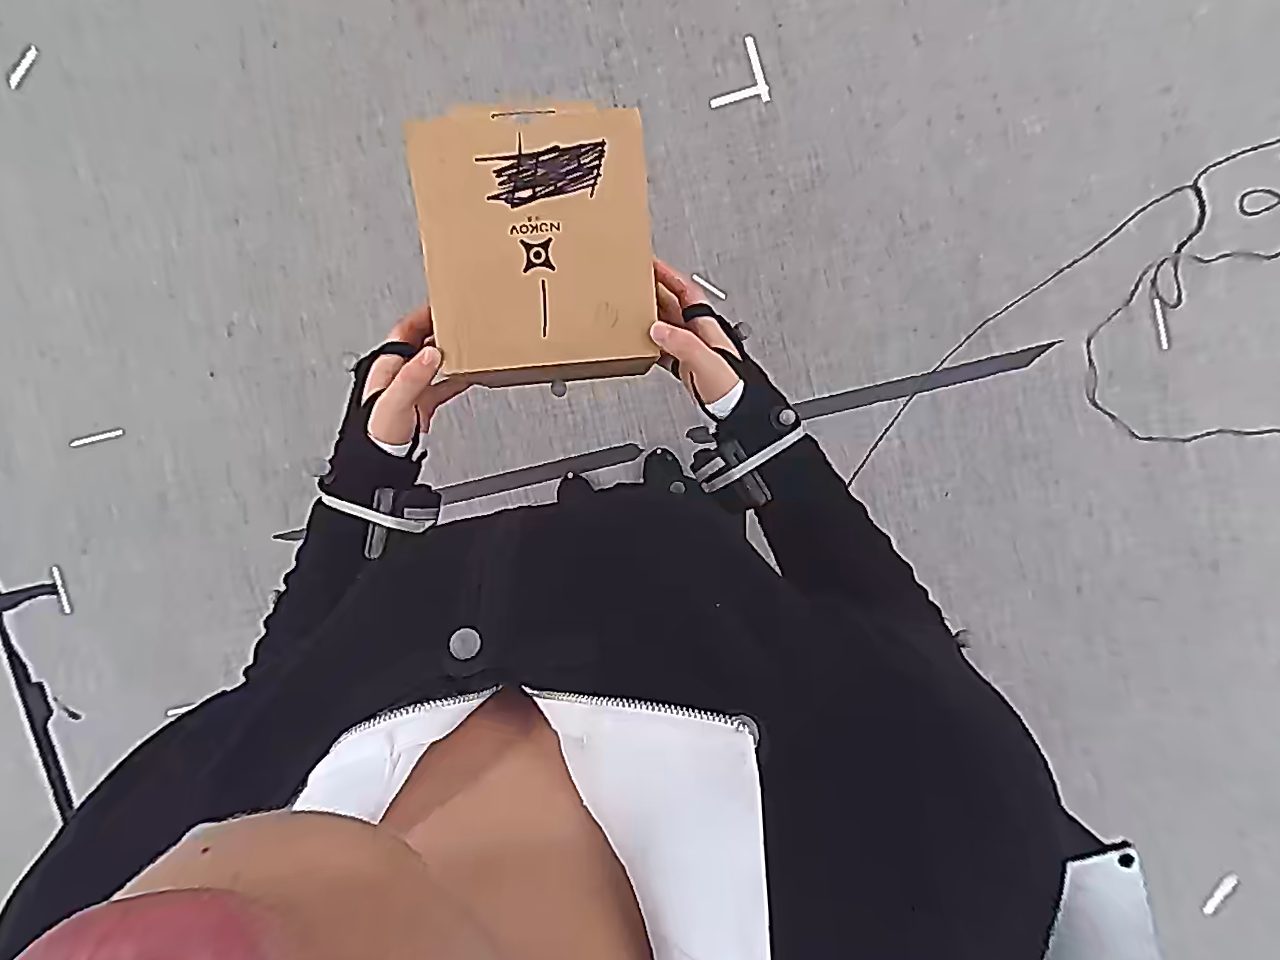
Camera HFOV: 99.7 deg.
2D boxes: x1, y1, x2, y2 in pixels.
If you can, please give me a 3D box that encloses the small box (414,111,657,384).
[{"bbox_3d":[-0.079,-0.182,0.473,0.168,0.176,0.179,-5,97,-2],"label":"small box"}]
